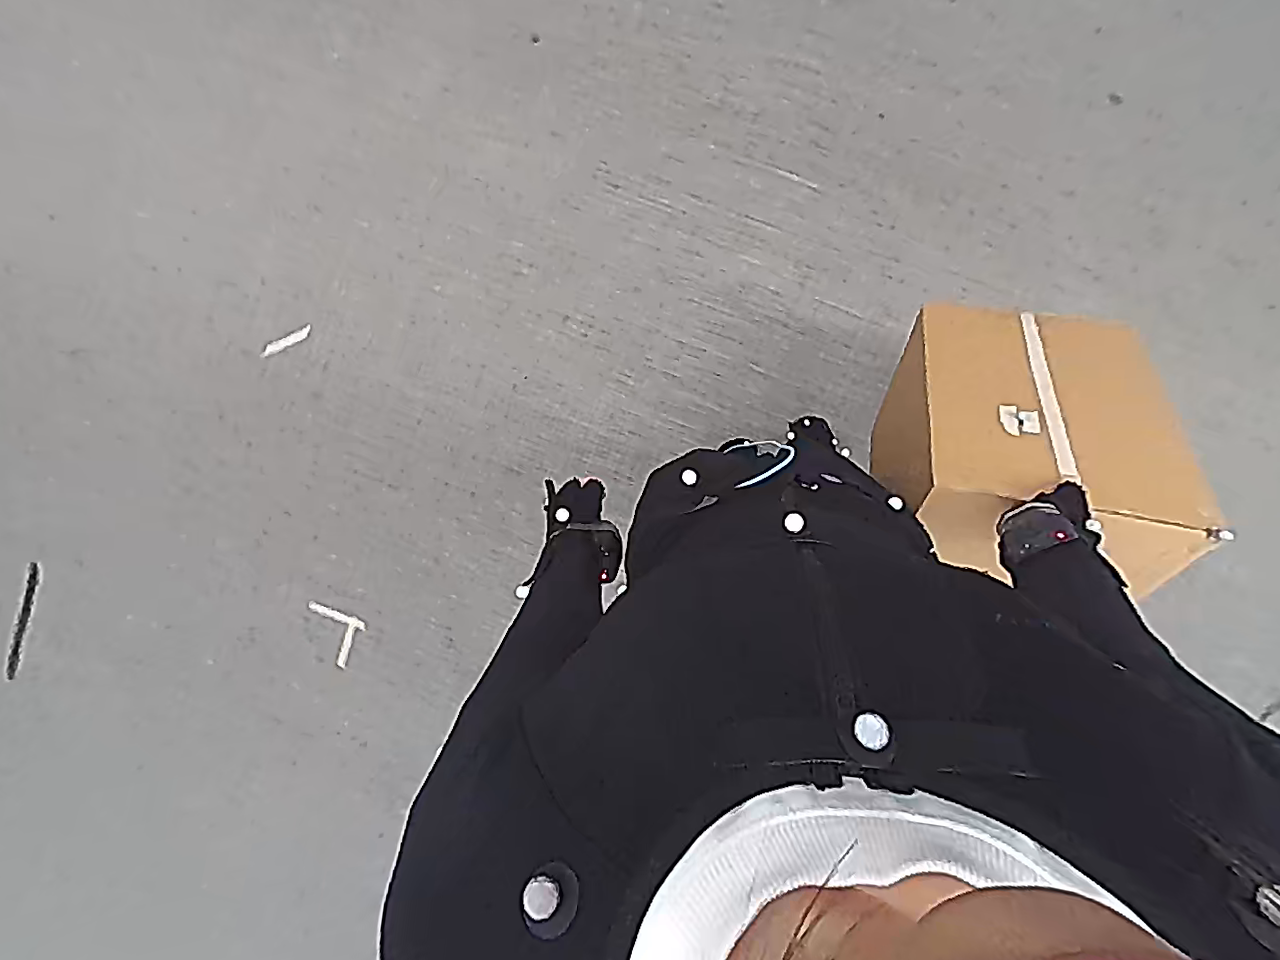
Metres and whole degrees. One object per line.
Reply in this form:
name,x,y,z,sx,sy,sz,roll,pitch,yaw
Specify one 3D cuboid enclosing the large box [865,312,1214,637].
large box,0.571,-0.017,0.885,0.320,0.320,0.408,9,53,12
